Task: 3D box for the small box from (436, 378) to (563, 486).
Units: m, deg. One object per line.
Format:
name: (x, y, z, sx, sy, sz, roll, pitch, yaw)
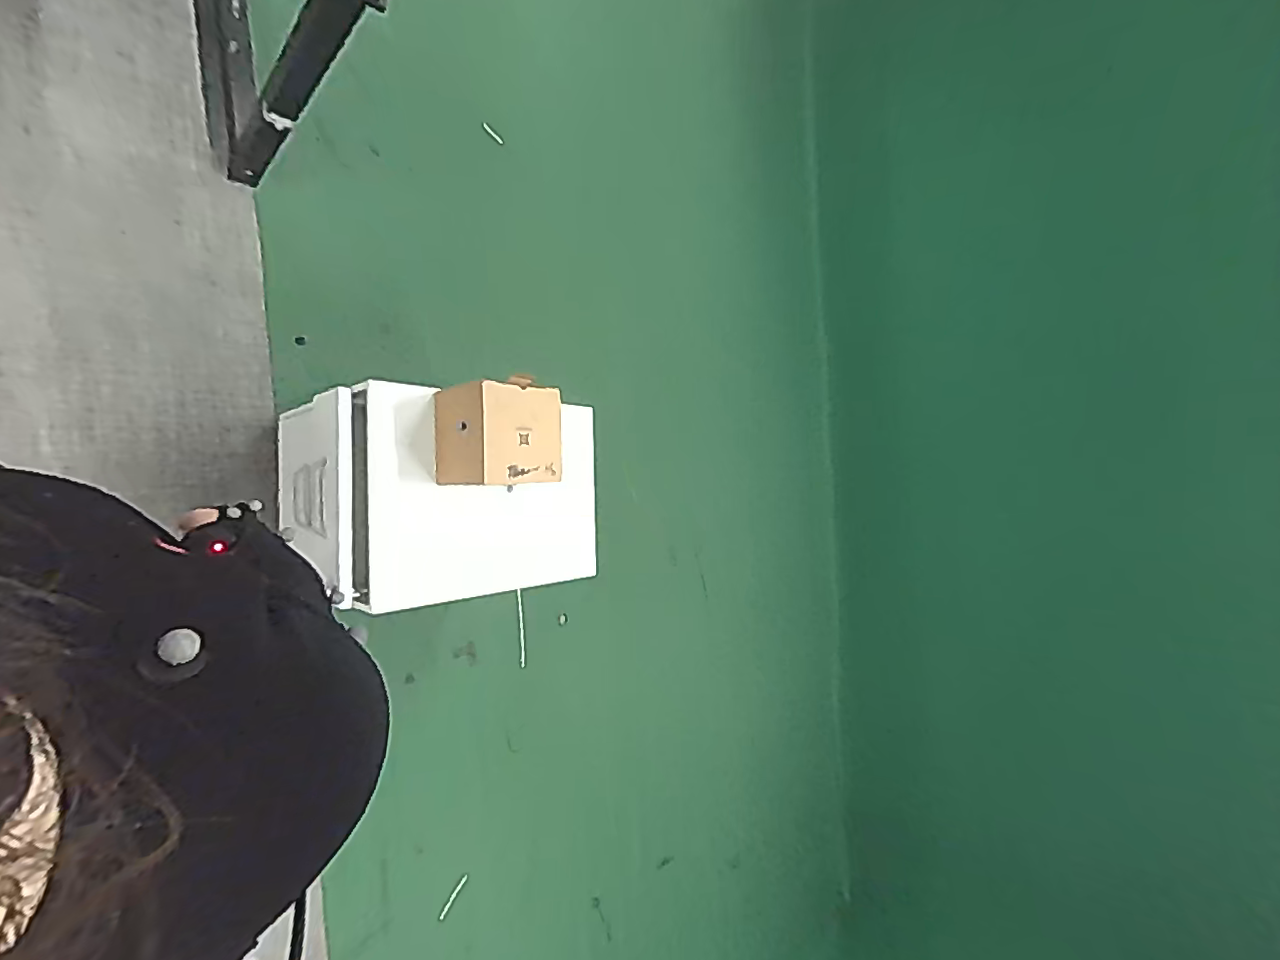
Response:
small box: (-0.259, -0.080, 0.987, 0.168, 0.176, 0.179, -2, 91, -47)
